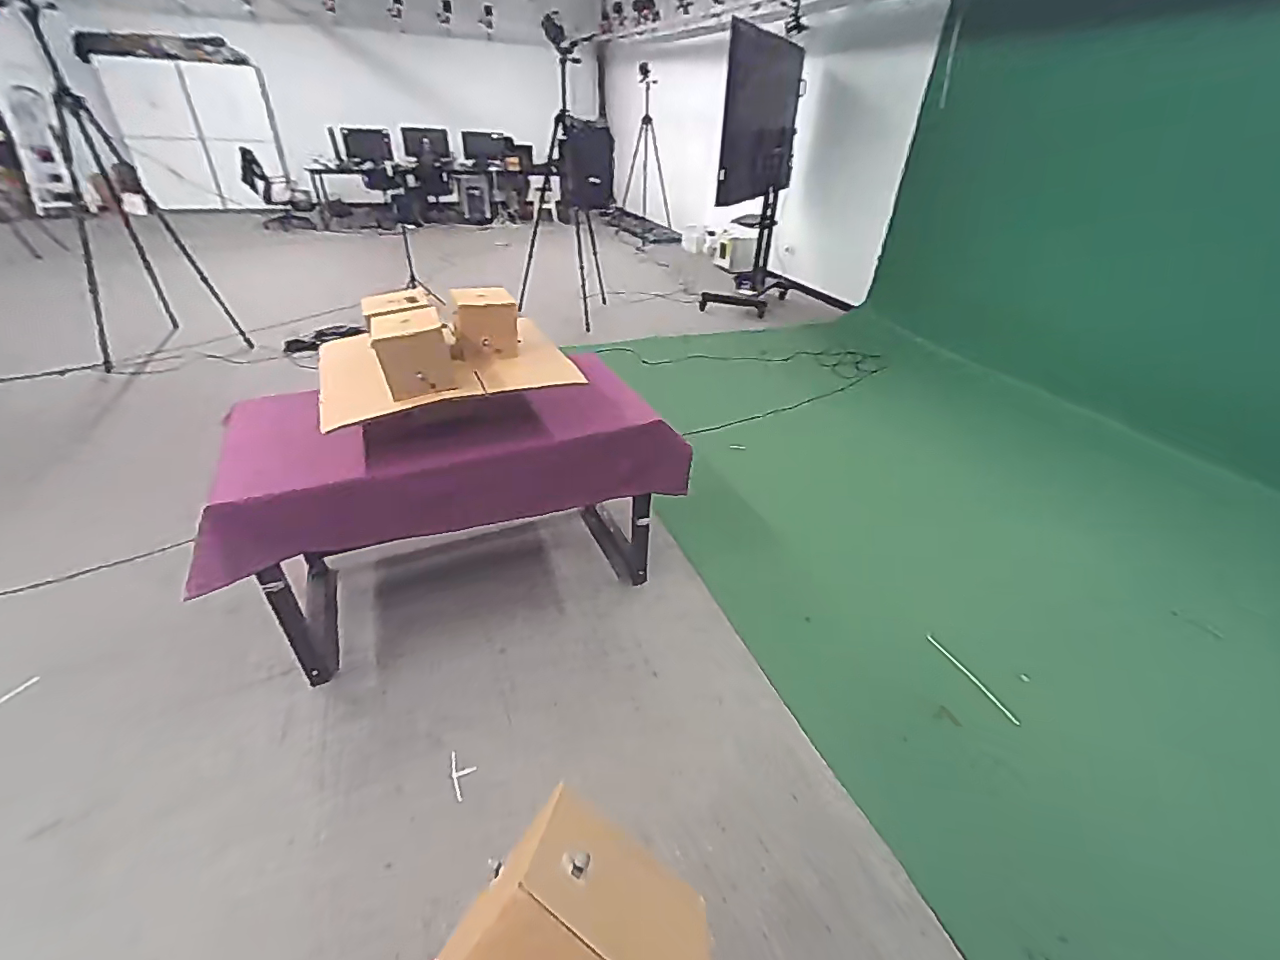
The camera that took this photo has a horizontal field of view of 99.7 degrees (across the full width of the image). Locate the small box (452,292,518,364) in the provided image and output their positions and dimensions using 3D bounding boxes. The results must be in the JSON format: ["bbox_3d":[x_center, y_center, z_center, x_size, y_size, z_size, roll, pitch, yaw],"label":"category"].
[{"bbox_3d":[-0.475,-0.468,1.655,0.168,0.176,0.179,-10,37,-22],"label":"small box"}]
